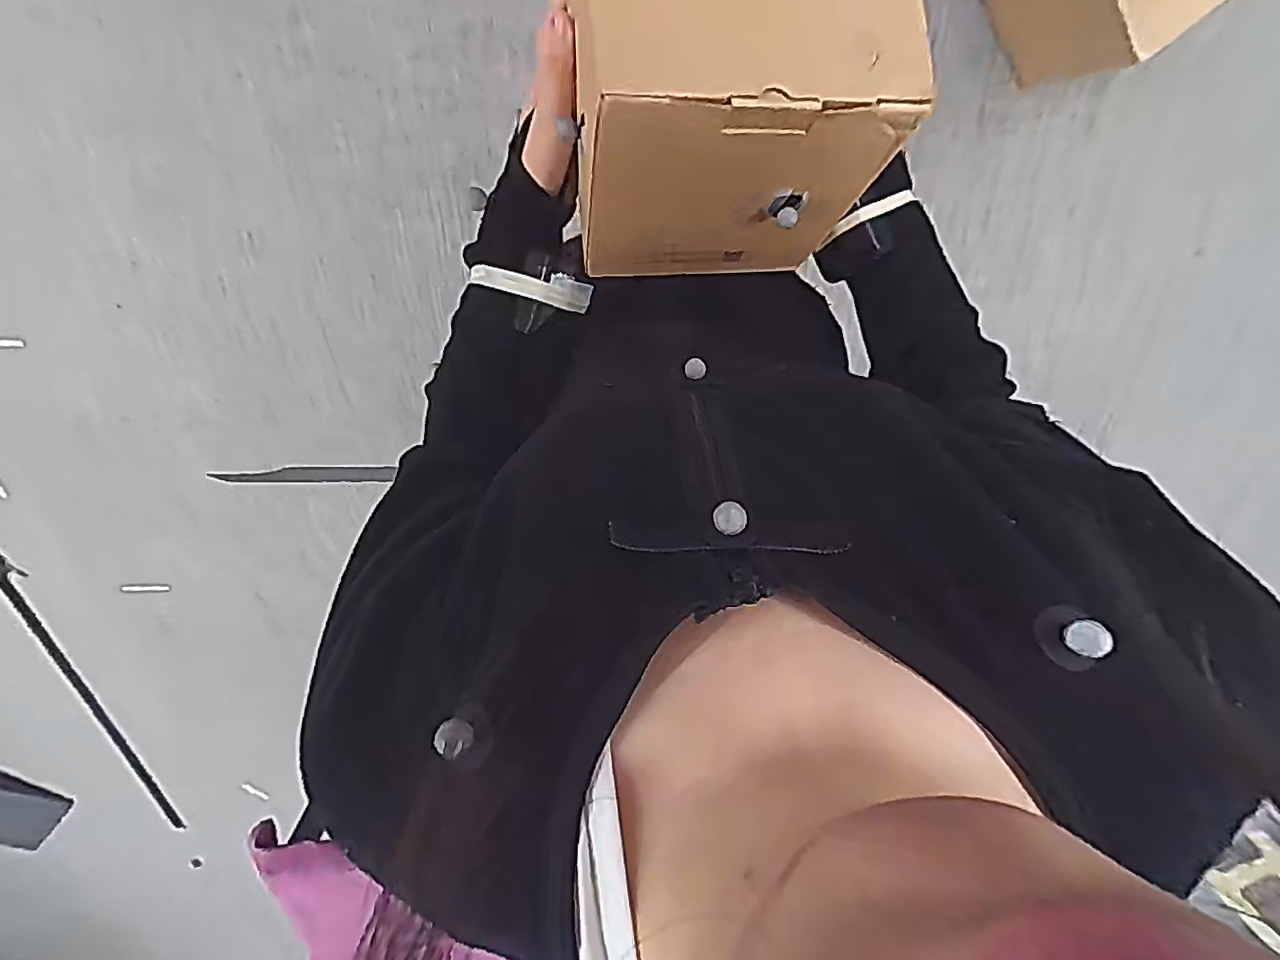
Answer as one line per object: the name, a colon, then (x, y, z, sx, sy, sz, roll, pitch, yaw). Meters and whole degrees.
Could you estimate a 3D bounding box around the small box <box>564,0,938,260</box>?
small box: (0.043, -0.252, 0.332, 0.168, 0.176, 0.179, -6, 85, -9)
